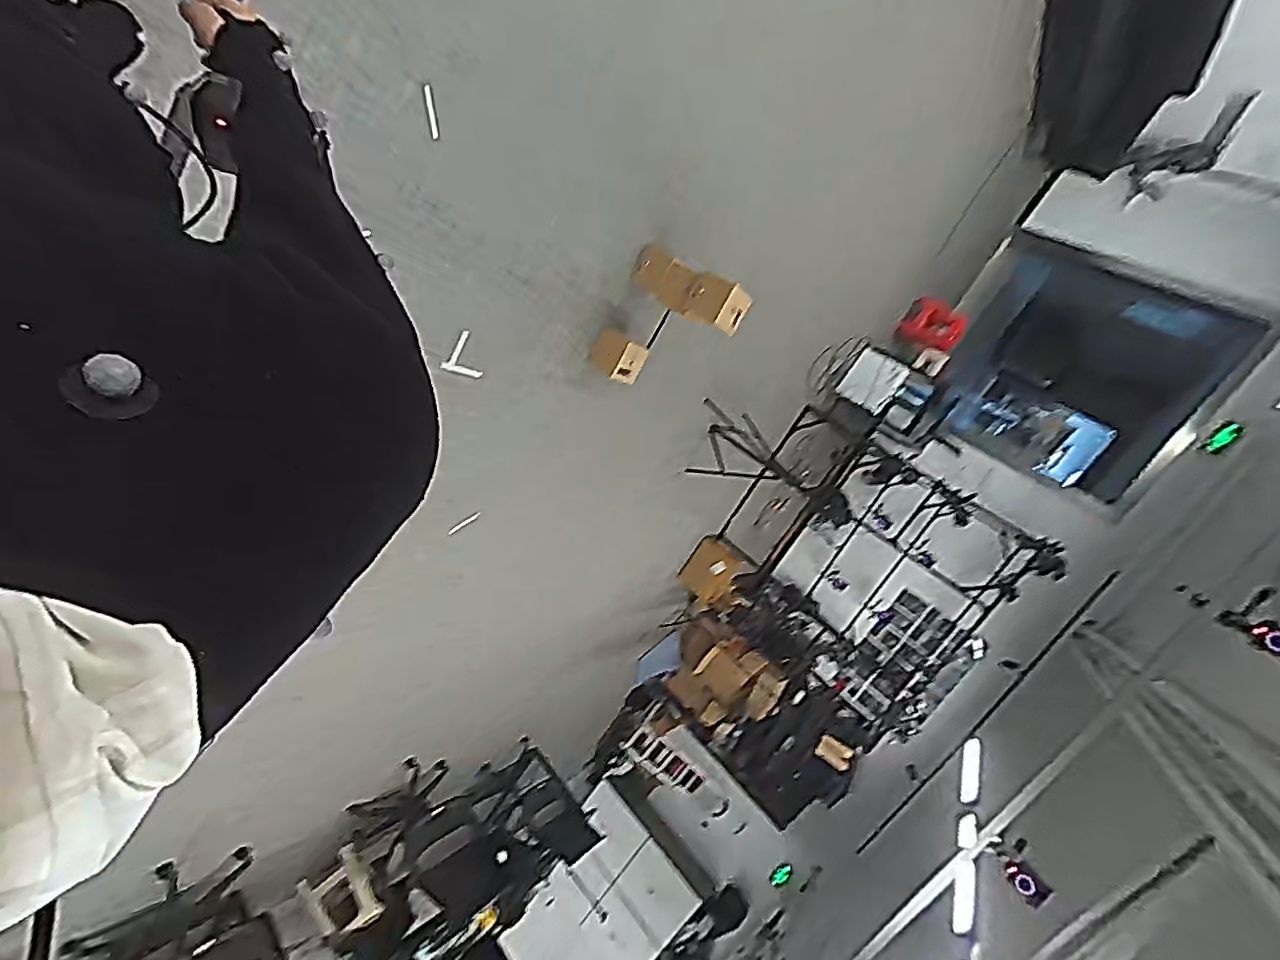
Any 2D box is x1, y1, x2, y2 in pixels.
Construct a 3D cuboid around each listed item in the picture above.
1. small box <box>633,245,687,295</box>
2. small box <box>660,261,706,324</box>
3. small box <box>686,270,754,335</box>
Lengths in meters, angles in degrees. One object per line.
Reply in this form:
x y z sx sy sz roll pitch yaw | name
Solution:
0.103 -0.883 2.319 0.179 0.176 0.168 3 121 -56 | small box
0.211 -0.781 2.246 0.168 0.176 0.179 1 122 -55 | small box
0.318 -0.706 2.143 0.179 0.176 0.168 7 116 -56 | small box
